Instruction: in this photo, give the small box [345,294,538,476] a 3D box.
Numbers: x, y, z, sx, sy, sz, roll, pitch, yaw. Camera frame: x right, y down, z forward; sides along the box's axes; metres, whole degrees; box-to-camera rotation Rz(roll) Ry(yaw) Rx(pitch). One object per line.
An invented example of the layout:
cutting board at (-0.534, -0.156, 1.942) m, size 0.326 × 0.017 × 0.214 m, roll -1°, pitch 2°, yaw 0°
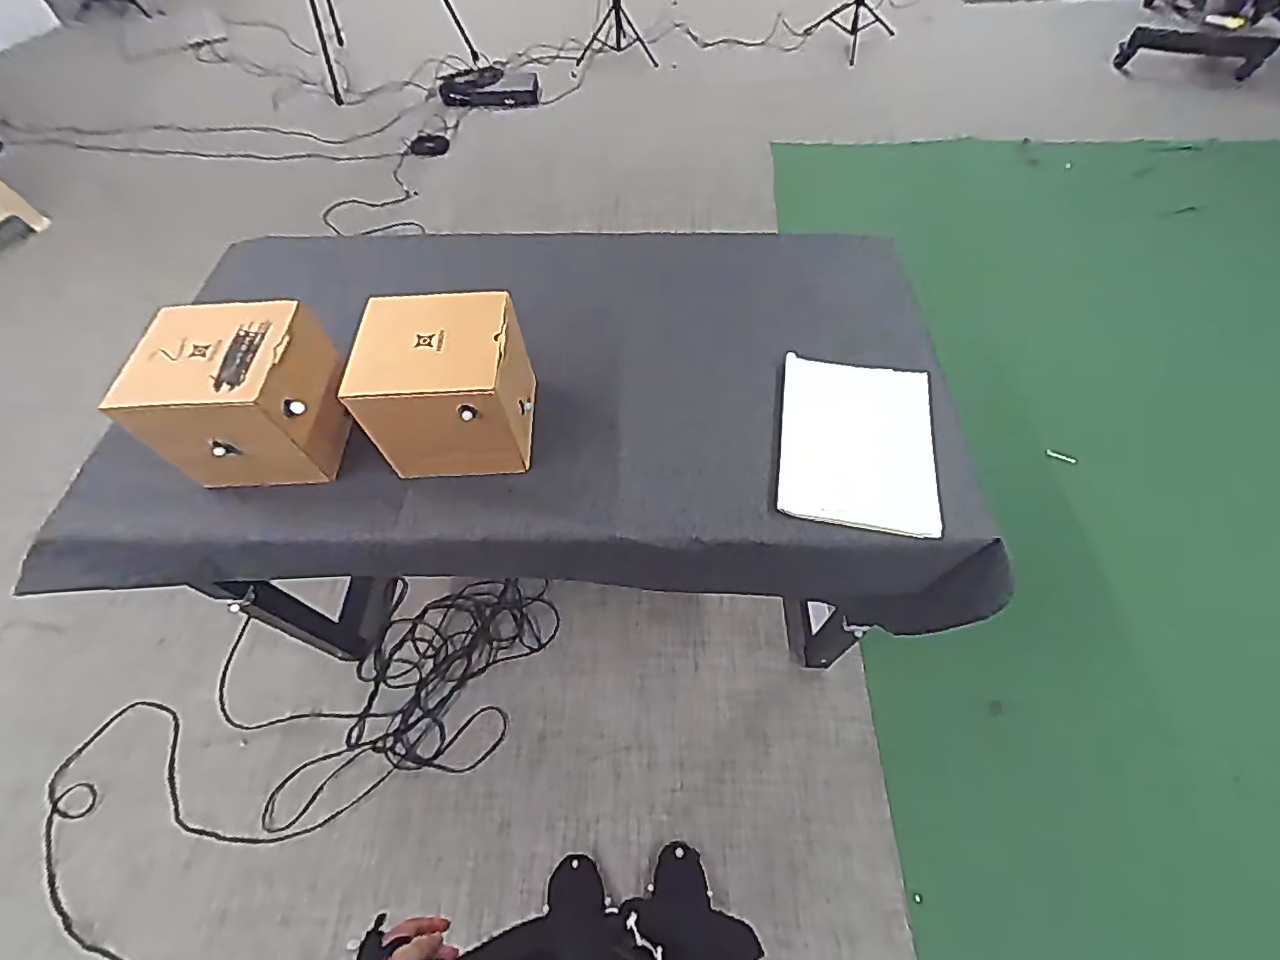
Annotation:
small box at (-0.240, -0.117, 0.703) m, size 0.179 × 0.176 × 0.168 m, roll -3°, pitch 57°, yaw -1°
